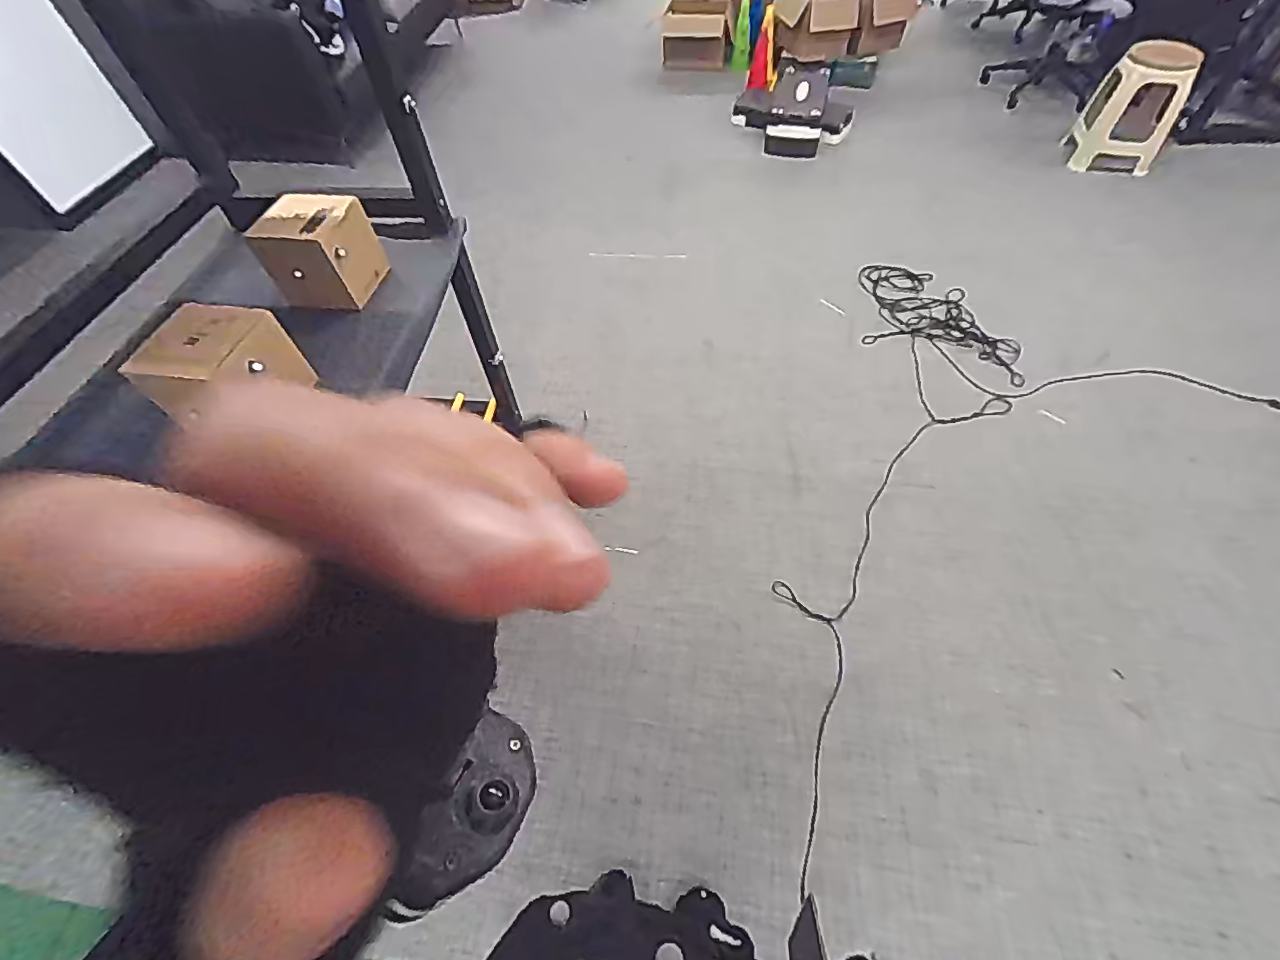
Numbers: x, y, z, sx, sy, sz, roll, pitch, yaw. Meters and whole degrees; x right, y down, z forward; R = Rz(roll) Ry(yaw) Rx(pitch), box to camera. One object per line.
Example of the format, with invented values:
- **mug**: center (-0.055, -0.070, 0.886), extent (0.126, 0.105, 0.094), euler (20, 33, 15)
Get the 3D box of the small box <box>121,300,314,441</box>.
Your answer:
- **small box**: center (-0.723, -0.190, 0.954), extent (0.168, 0.176, 0.179), euler (7, 56, 8)
